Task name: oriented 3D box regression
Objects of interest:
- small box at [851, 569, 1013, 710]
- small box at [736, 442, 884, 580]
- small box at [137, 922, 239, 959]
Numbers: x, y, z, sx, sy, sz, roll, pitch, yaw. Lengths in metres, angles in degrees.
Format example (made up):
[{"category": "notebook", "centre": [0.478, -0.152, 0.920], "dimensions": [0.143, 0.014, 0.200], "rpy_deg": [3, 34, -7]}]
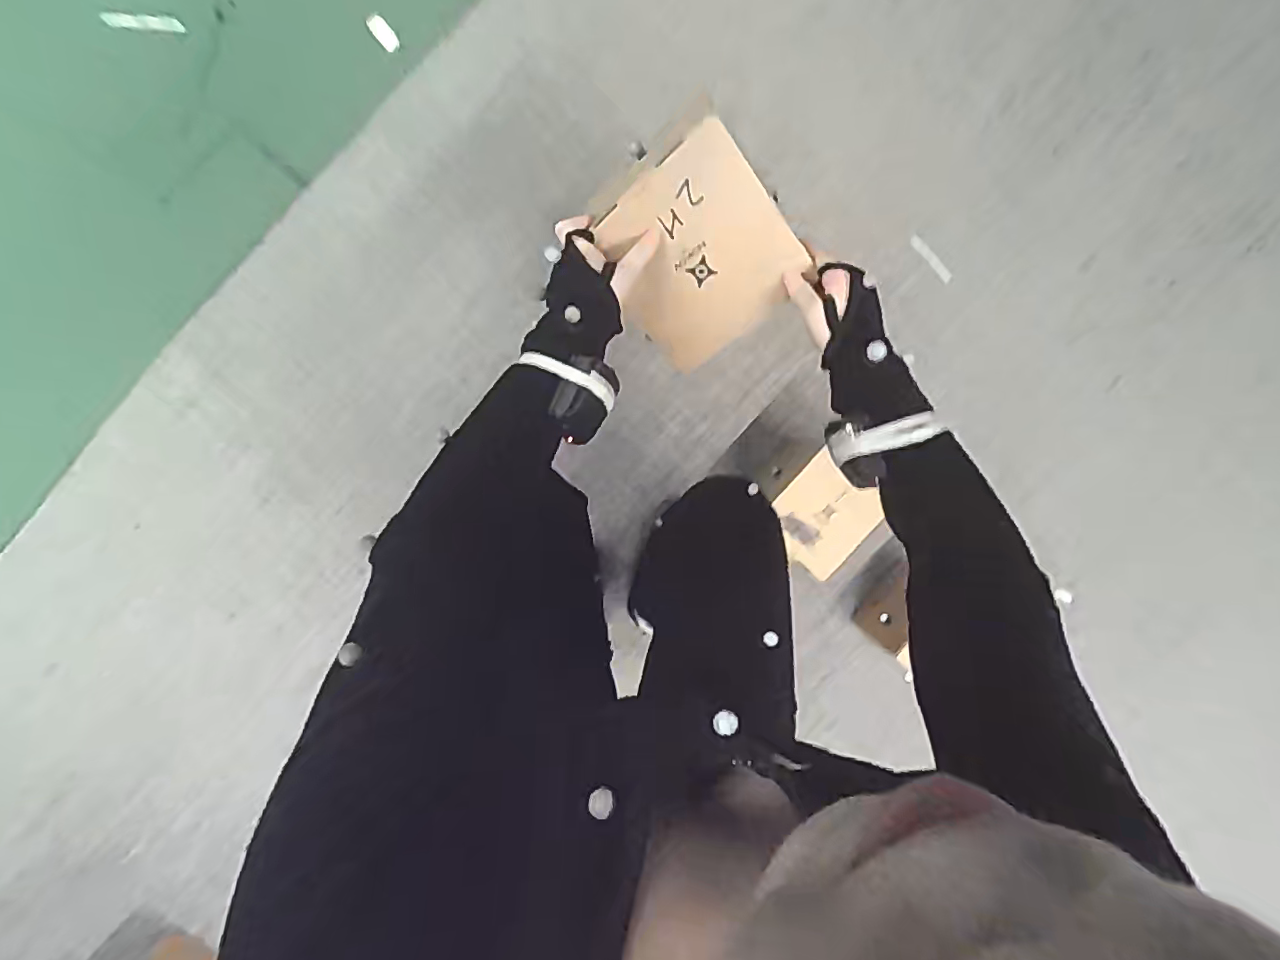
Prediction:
[{"category": "small box", "centre": [0.547, 0.293, 1.041], "dimensions": [0.179, 0.176, 0.168], "rpy_deg": [39, 94, -8]}, {"category": "small box", "centre": [0.296, 0.048, 0.990], "dimensions": [0.168, 0.176, 0.179], "rpy_deg": [42, 92, -8]}, {"category": "small box", "centre": [-0.930, 1.017, 1.042], "dimensions": [0.179, 0.176, 0.168], "rpy_deg": [41, 93, -7]}]
